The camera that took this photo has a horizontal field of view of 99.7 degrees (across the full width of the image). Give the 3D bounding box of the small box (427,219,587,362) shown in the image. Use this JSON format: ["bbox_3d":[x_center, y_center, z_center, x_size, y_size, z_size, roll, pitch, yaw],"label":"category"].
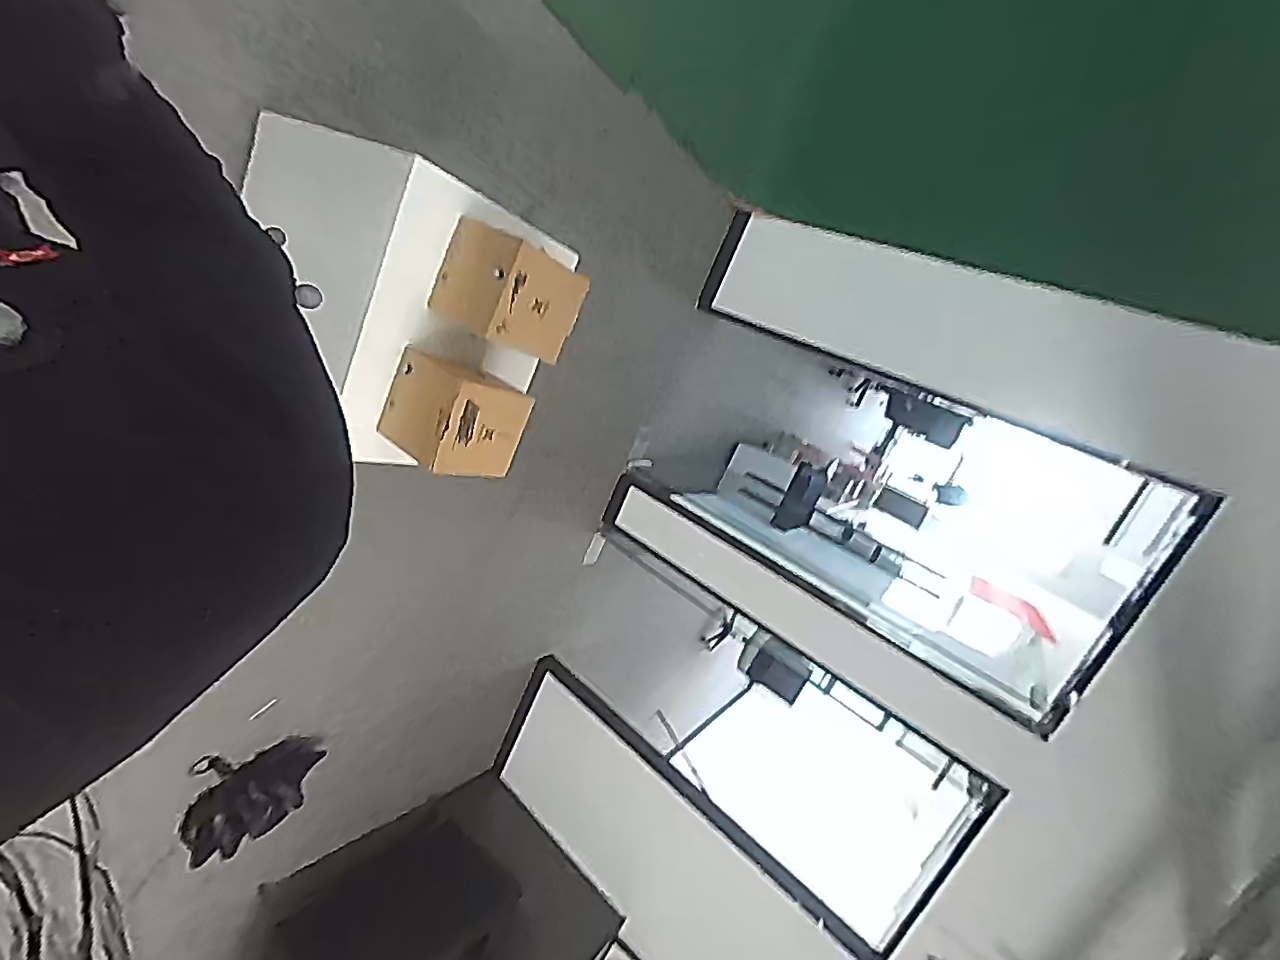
[{"bbox_3d":[-0.230,-0.328,0.943,0.179,0.176,0.168,7,110,-60],"label":"small box"}]

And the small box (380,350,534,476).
[{"bbox_3d":[-0.333,-0.121,0.977,0.179,0.176,0.168,5,112,-60],"label":"small box"}]
